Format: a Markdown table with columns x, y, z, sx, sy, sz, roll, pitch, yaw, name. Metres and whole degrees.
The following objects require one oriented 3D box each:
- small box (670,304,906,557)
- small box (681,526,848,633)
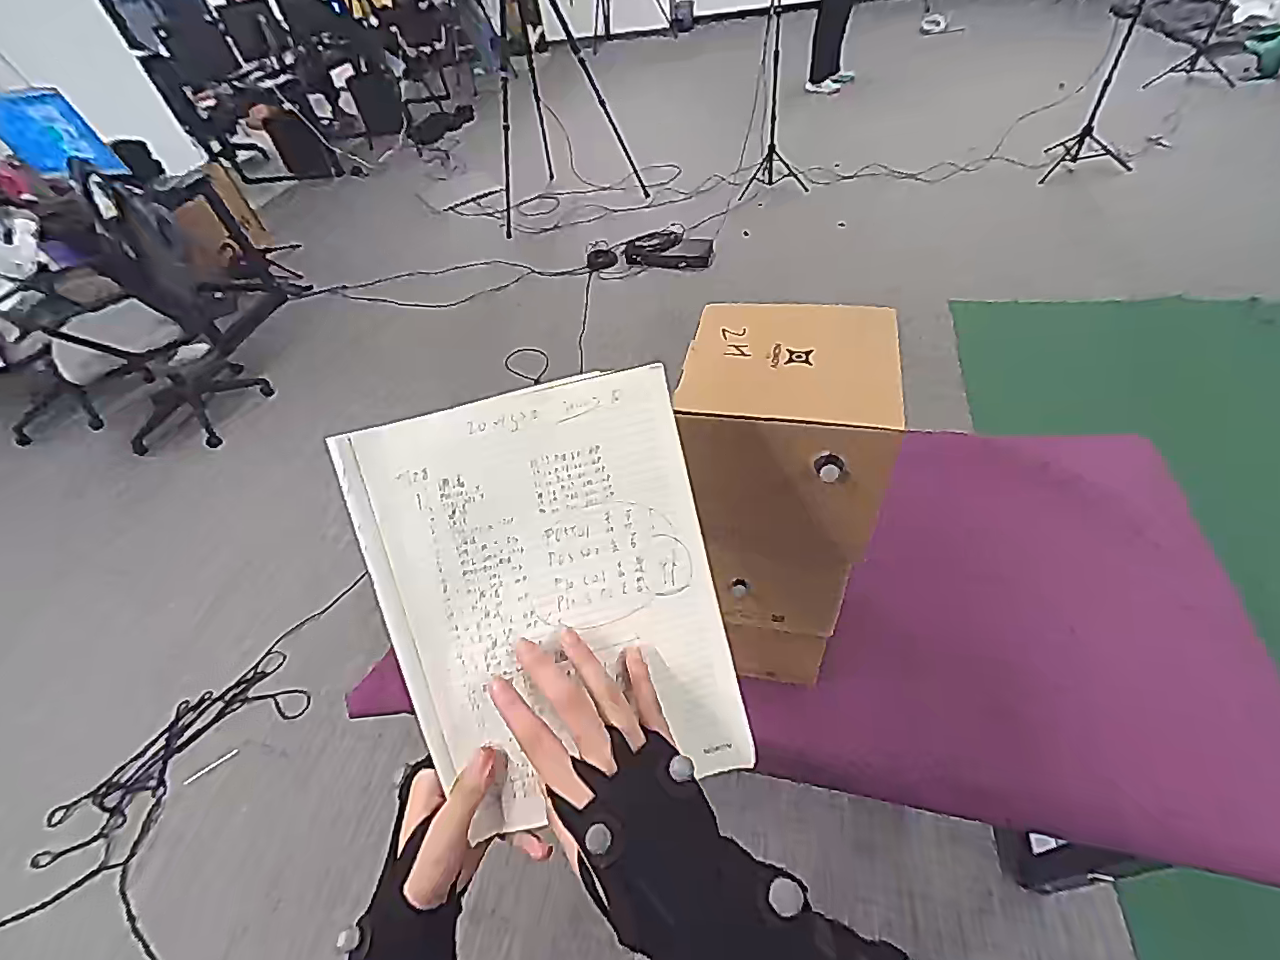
| x | y | z | sx | sy | sz | roll | pitch | yaw | name |
| --- | --- | --- | --- | --- | --- | --- | --- | --- | --- |
| 0.137 | -0.046 | 0.514 | 0.179 | 0.176 | 0.168 | 7 | 48 | 16 | small box |
| 0.150 | 0.060 | 0.640 | 0.168 | 0.176 | 0.179 | 5 | 48 | 14 | small box |
